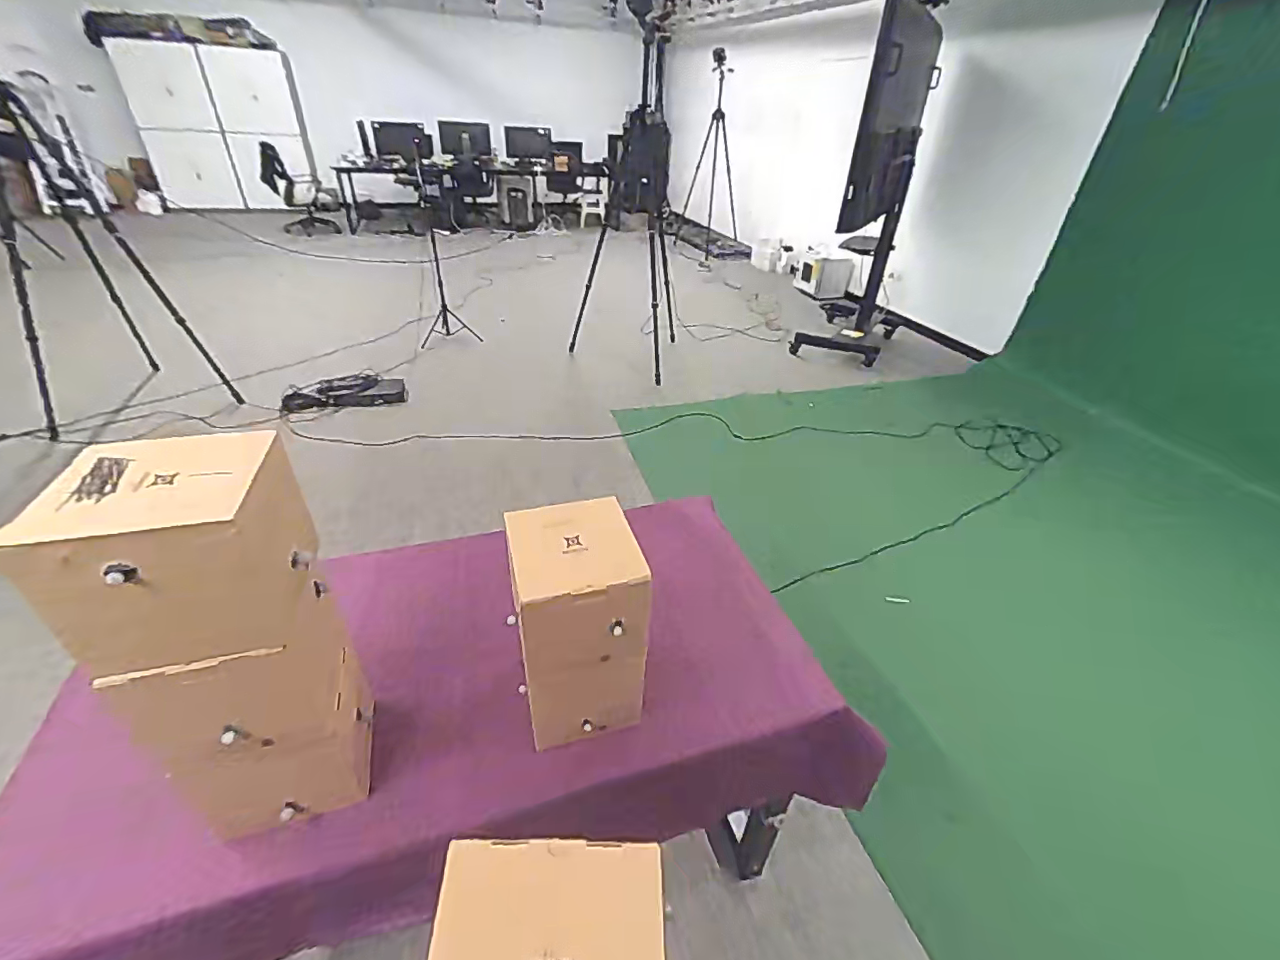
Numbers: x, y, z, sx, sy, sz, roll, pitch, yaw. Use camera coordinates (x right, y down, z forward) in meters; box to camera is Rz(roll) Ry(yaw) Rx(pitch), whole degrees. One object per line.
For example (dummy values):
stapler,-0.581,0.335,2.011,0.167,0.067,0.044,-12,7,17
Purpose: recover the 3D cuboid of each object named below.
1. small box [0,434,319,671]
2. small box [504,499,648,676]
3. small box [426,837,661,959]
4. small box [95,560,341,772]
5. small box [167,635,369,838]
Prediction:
small box,-0.462,0.071,0.557,0.179,0.176,0.168,-7,36,-16
small box,-0.094,0.153,0.762,0.168,0.176,0.179,-8,36,-16
small box,-0.079,0.400,0.423,0.168,0.176,0.179,6,44,-10
small box,-0.475,0.207,0.649,0.168,0.176,0.179,-9,37,-16
small box,-0.482,0.346,0.739,0.179,0.176,0.168,-9,36,-18
